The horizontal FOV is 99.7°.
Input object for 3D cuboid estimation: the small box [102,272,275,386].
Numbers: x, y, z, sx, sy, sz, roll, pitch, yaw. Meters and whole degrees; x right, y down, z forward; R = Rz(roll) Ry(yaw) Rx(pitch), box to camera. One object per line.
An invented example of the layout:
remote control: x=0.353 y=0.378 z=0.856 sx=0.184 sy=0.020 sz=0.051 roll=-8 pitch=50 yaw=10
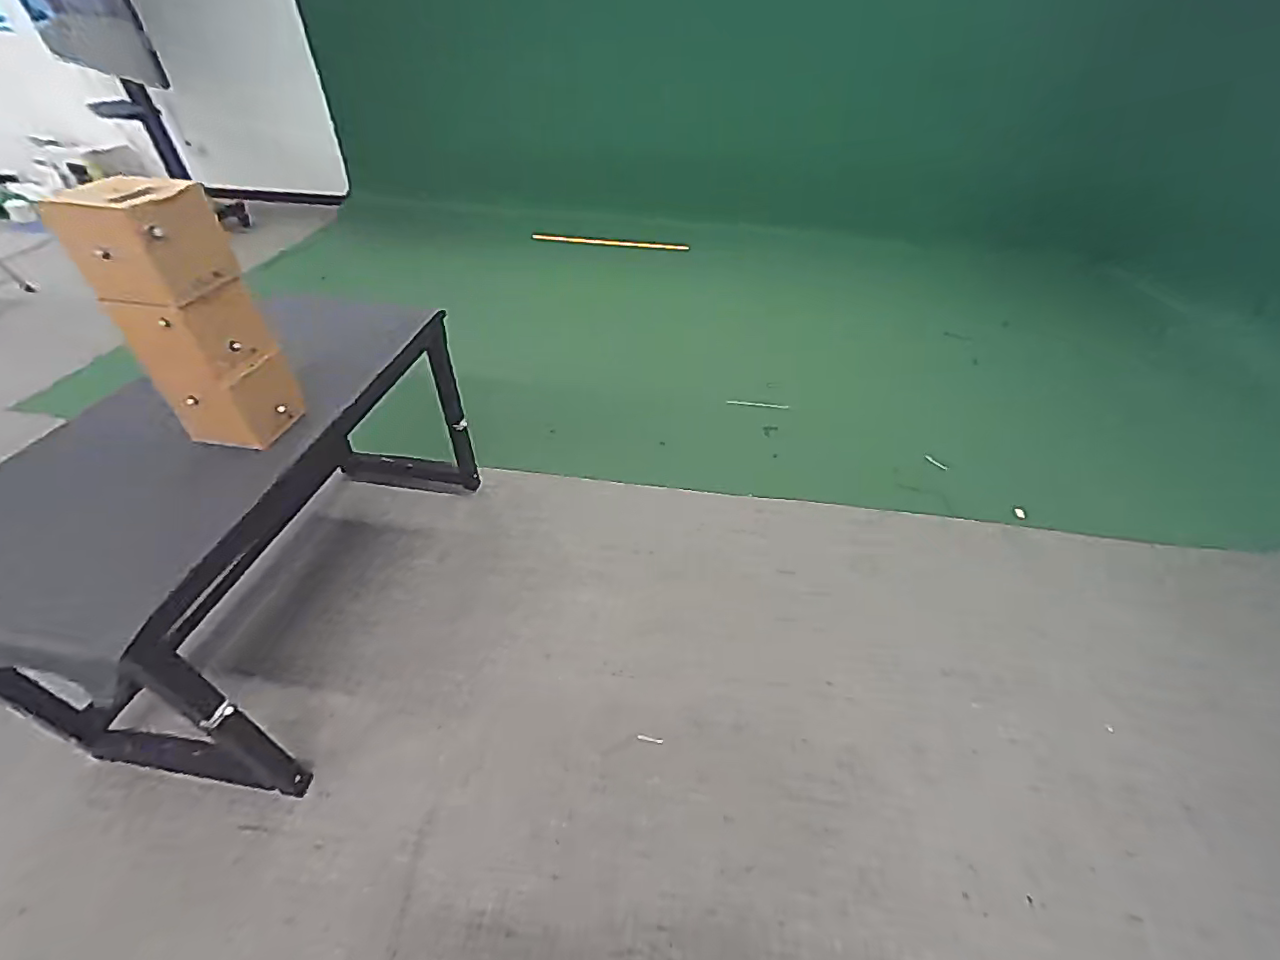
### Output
small box: x=-0.900 y=-0.305 z=1.098 sx=0.179 sy=0.176 sz=0.168 roll=8 pitch=42 yaw=7

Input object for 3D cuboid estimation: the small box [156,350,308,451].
small box: x=-0.894 y=-0.182 z=1.203 sx=0.179 sy=0.176 sz=0.168 roll=7 pitch=43 yaw=7
